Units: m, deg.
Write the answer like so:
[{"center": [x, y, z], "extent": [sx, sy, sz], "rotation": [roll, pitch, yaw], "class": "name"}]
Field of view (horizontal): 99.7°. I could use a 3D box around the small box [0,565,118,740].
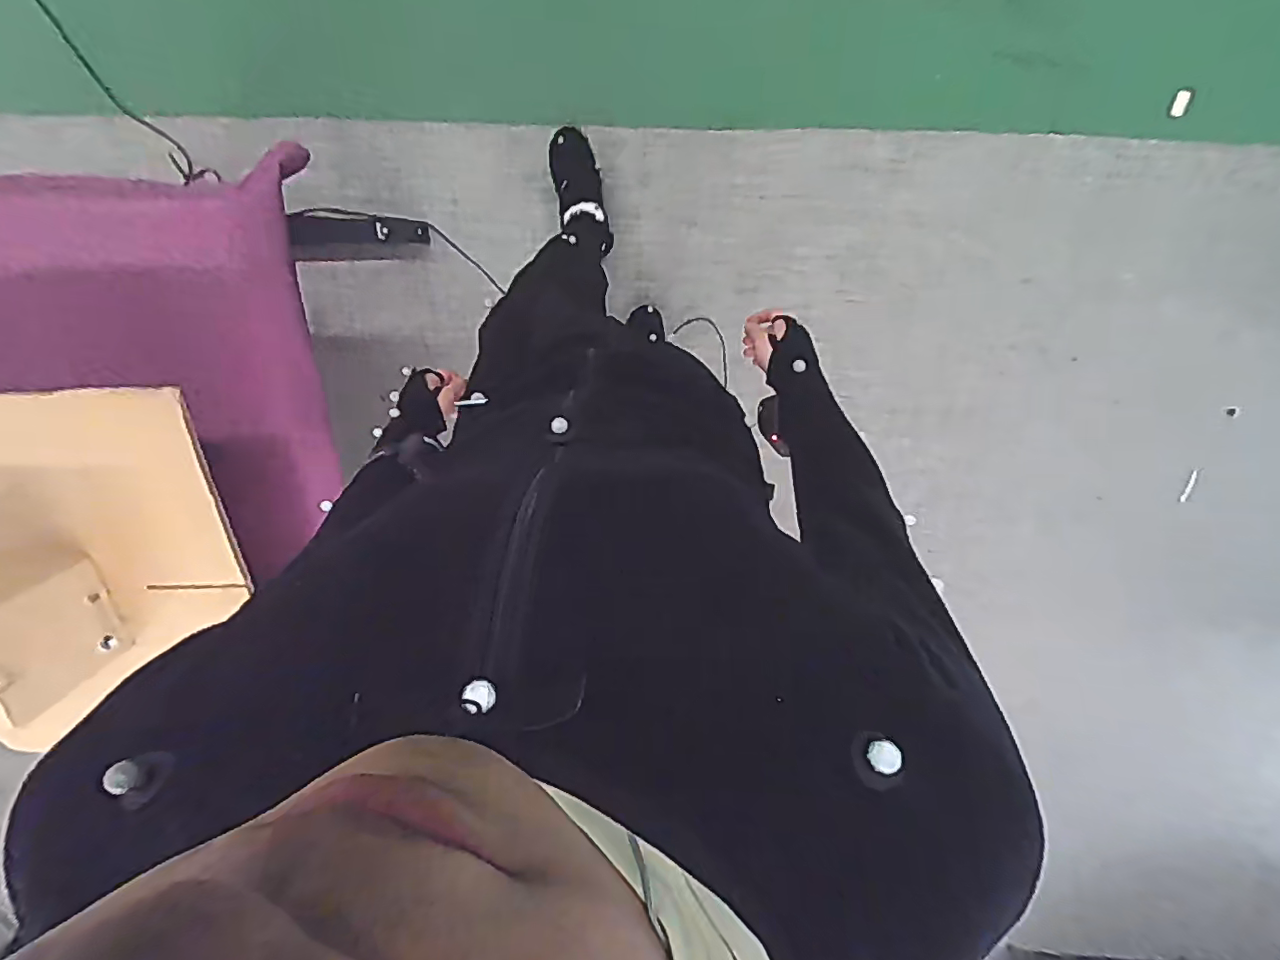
[{"center": [-0.878, 0.226, 0.737], "extent": [0.179, 0.176, 0.168], "rotation": [-1, 112, 4], "class": "small box"}]
